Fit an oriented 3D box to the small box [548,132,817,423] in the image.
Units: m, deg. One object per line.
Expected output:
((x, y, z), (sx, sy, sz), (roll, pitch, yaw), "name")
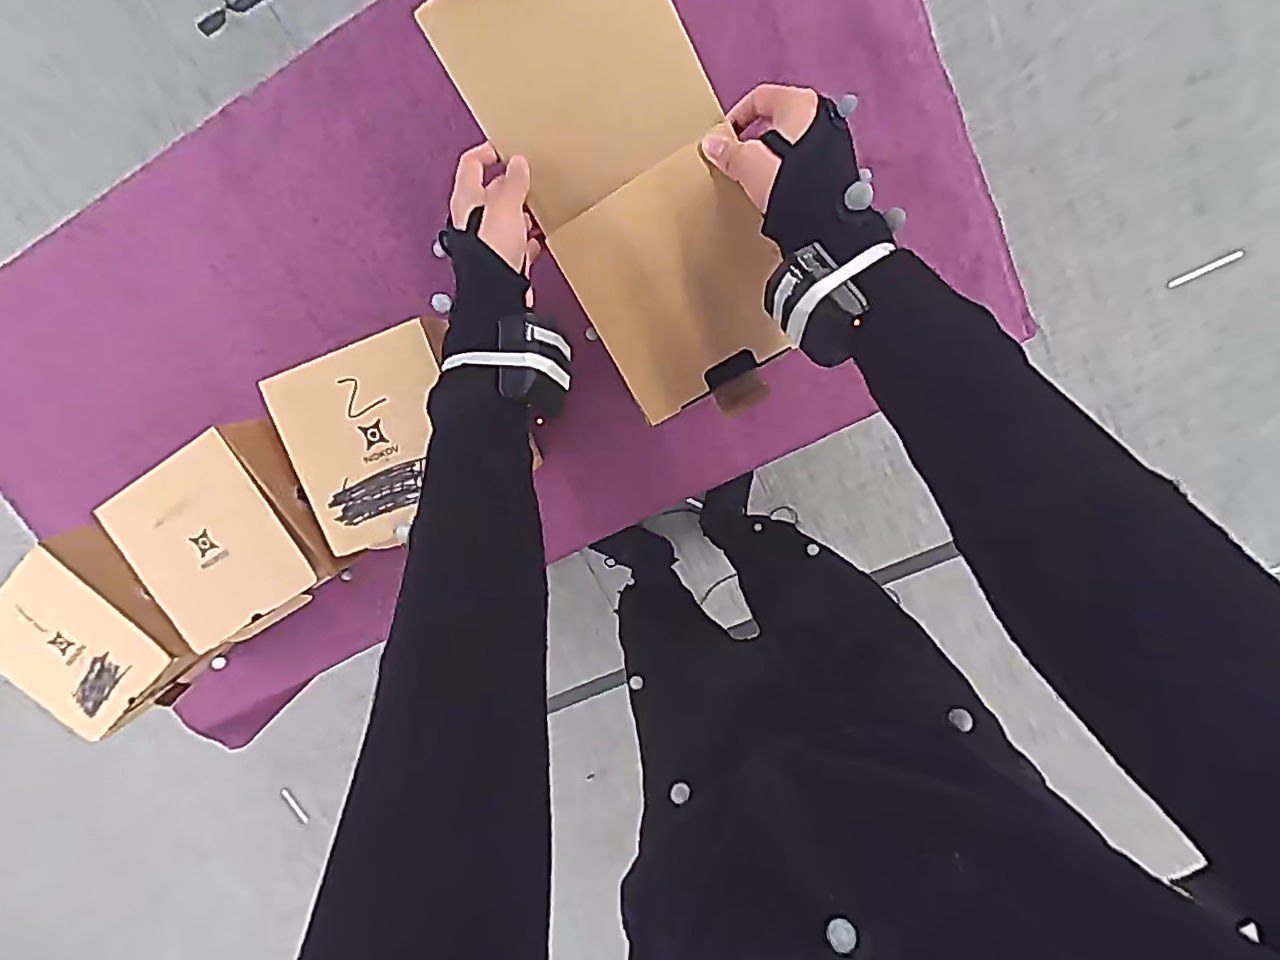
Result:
((0.039, -0.175, 0.517), (0.168, 0.176, 0.179), (-28, 100, 11), "small box")
